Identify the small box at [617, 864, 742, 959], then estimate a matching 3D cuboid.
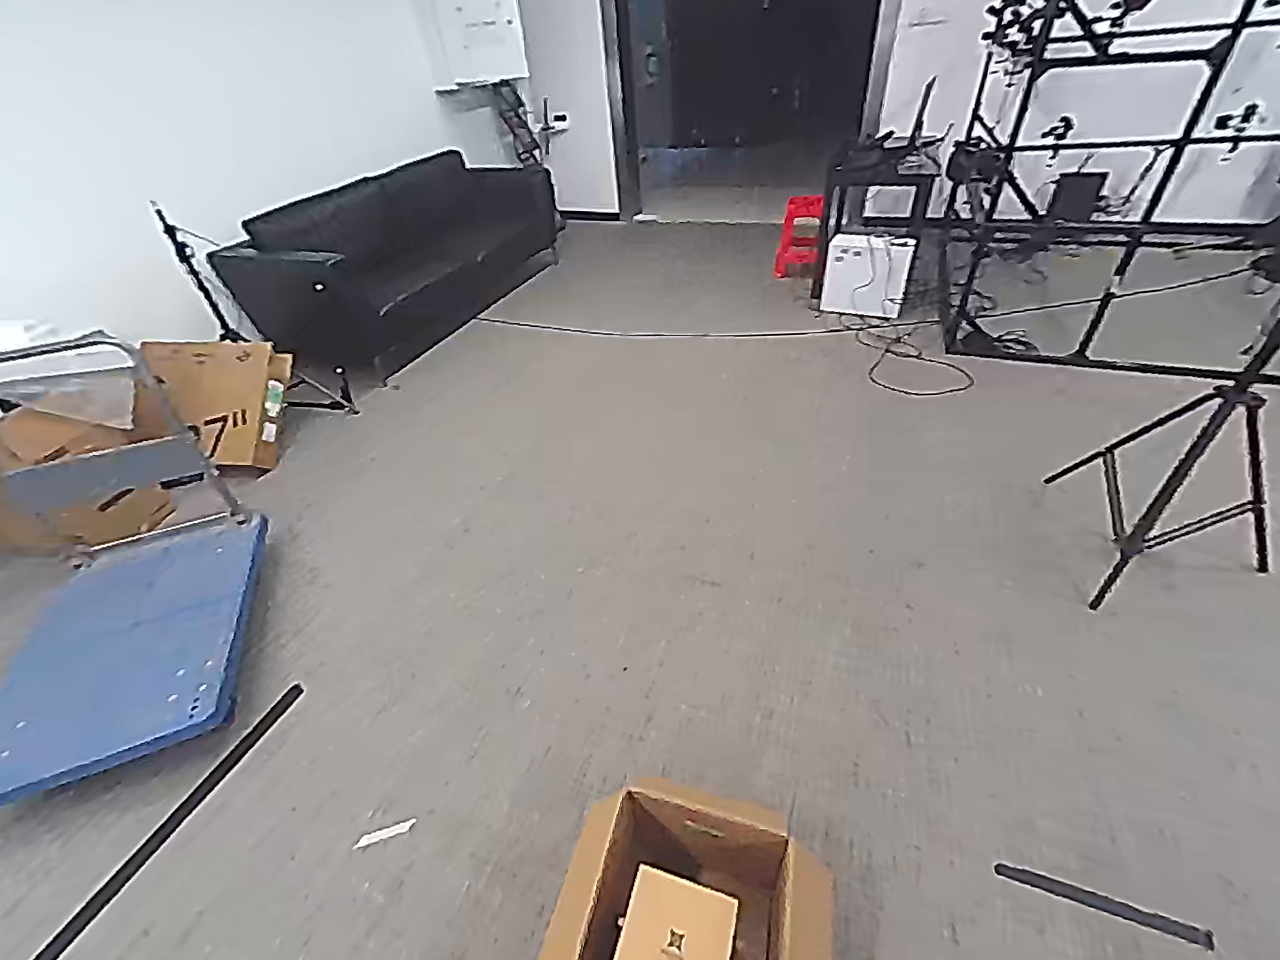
[{"bbox_3d":[0.061,0.763,0.861,0.168,0.176,0.179,8,41,17],"label":"small box"}]
